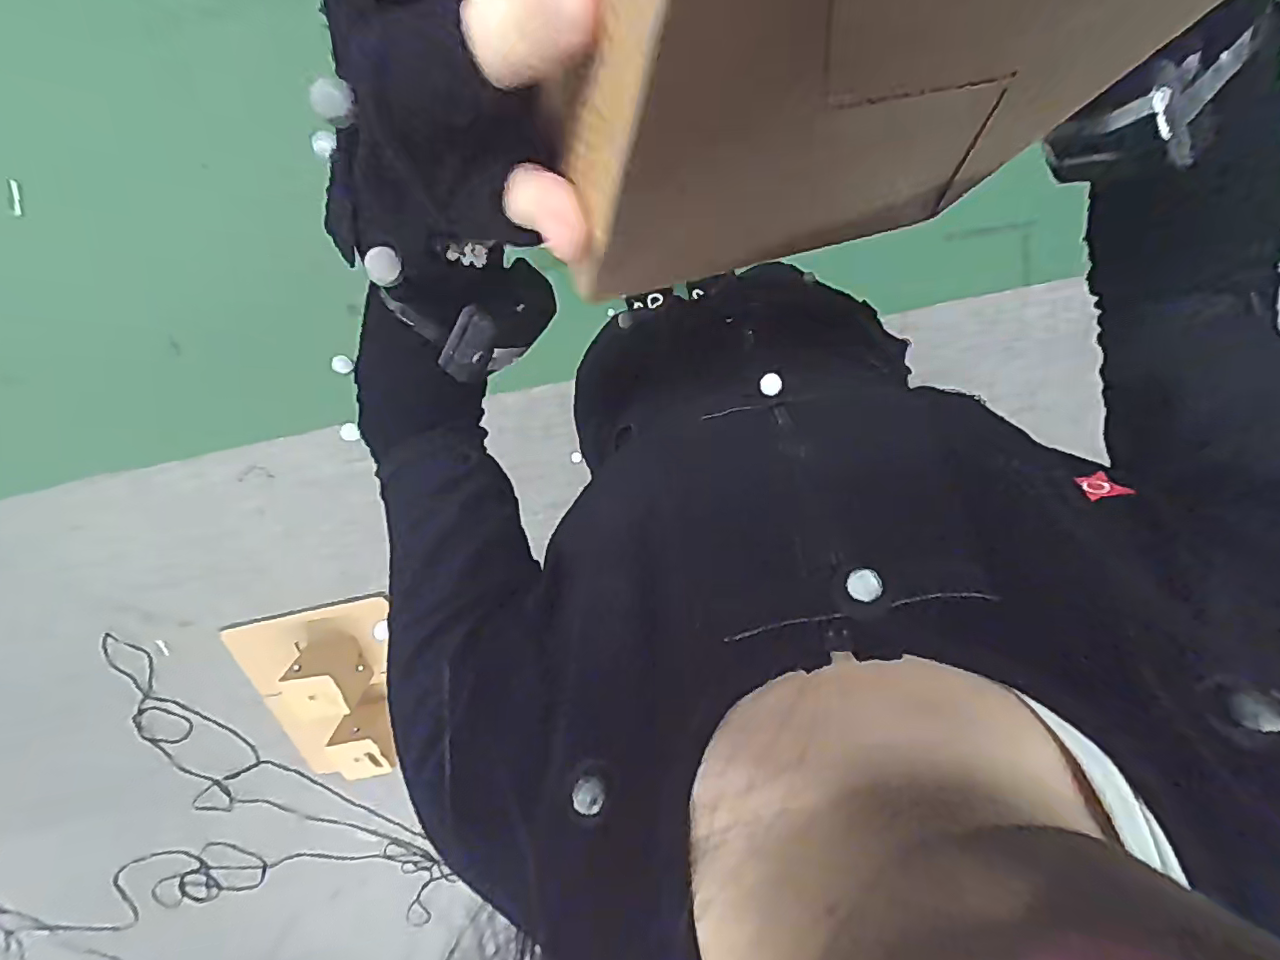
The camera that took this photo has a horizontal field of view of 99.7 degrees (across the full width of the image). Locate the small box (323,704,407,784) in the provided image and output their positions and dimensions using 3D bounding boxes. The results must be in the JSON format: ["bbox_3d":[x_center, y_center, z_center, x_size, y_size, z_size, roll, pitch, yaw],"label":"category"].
[{"bbox_3d":[-0.921,0.892,1.838,0.179,0.176,0.168,-15,112,7],"label":"small box"}]

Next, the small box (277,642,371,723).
[{"bbox_3d":[-1.006,0.646,1.737,0.179,0.176,0.168,-10,114,4],"label":"small box"}]
